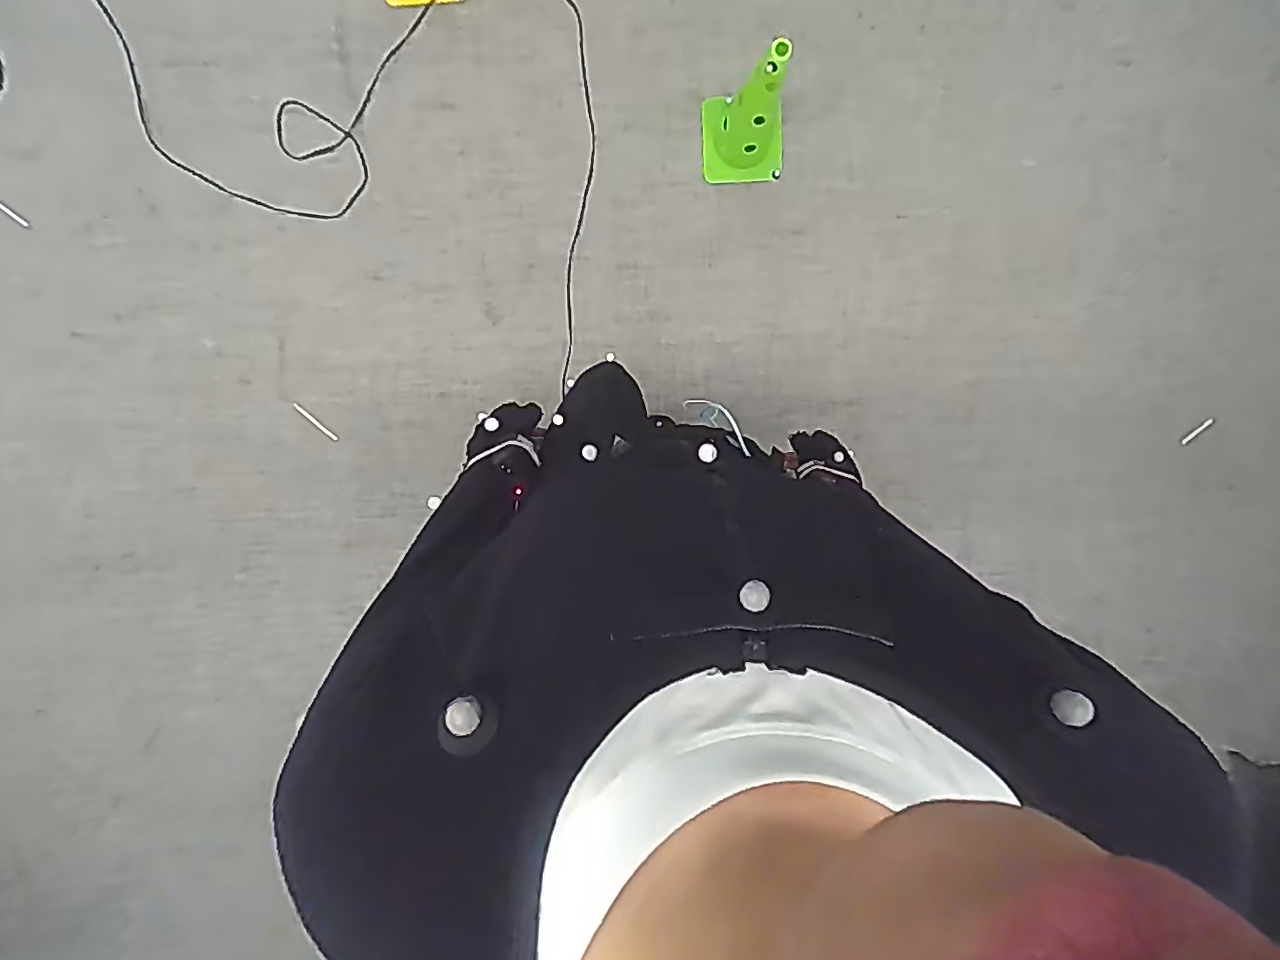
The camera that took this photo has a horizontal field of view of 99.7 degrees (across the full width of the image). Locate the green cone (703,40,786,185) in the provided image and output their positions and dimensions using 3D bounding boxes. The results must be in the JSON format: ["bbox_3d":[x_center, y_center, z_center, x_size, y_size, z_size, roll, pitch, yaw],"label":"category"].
[{"bbox_3d":[0.261,-0.833,1.192,0.202,0.368,0.200,-3,97,1],"label":"green cone"}]
